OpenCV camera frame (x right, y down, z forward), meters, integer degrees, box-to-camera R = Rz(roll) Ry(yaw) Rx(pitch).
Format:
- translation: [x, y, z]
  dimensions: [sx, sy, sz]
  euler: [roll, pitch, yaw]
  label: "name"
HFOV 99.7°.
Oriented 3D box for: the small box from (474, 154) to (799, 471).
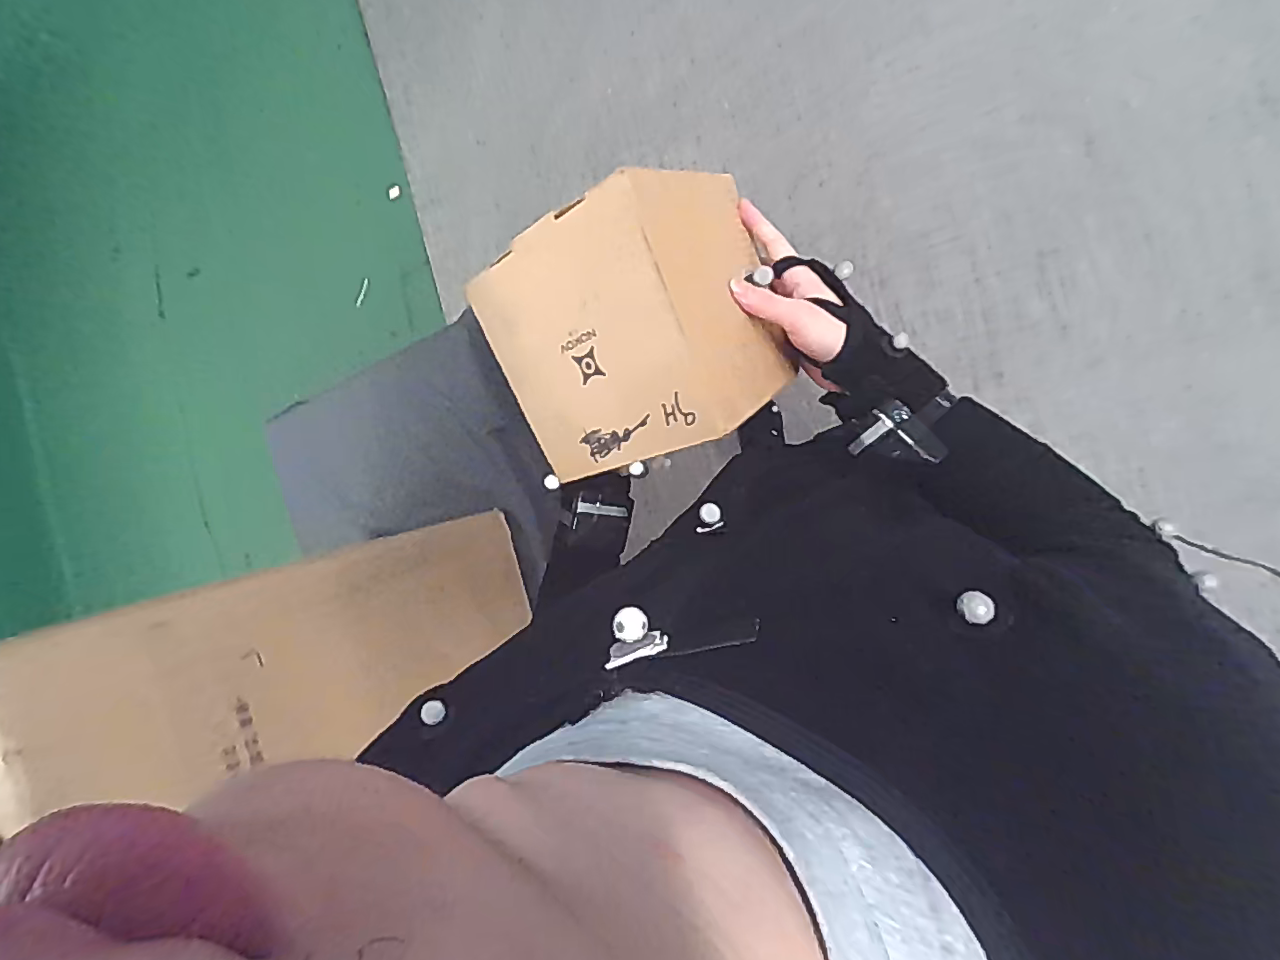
- translation: [0.008, -0.130, 0.443]
  dimensions: [0.168, 0.176, 0.179]
  euler: [-15, 105, 38]
  label: "small box"
